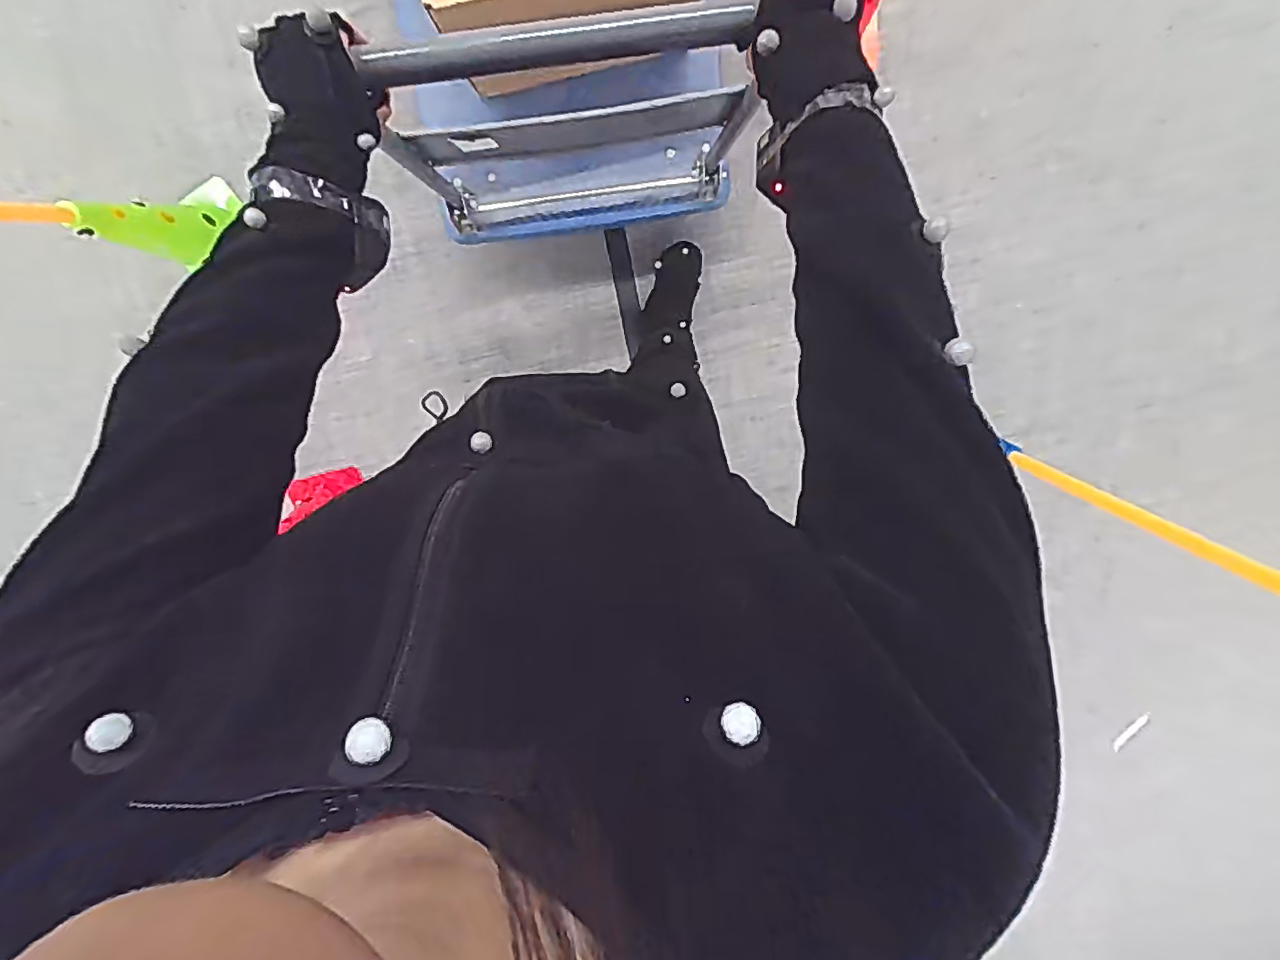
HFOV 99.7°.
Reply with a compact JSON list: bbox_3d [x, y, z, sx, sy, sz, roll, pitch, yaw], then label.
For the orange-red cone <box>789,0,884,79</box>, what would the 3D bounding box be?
[{"bbox_3d":[0.423,-0.916,0.978,0.199,0.360,0.198,-6,108,-2],"label":"orange-red cone"}]
